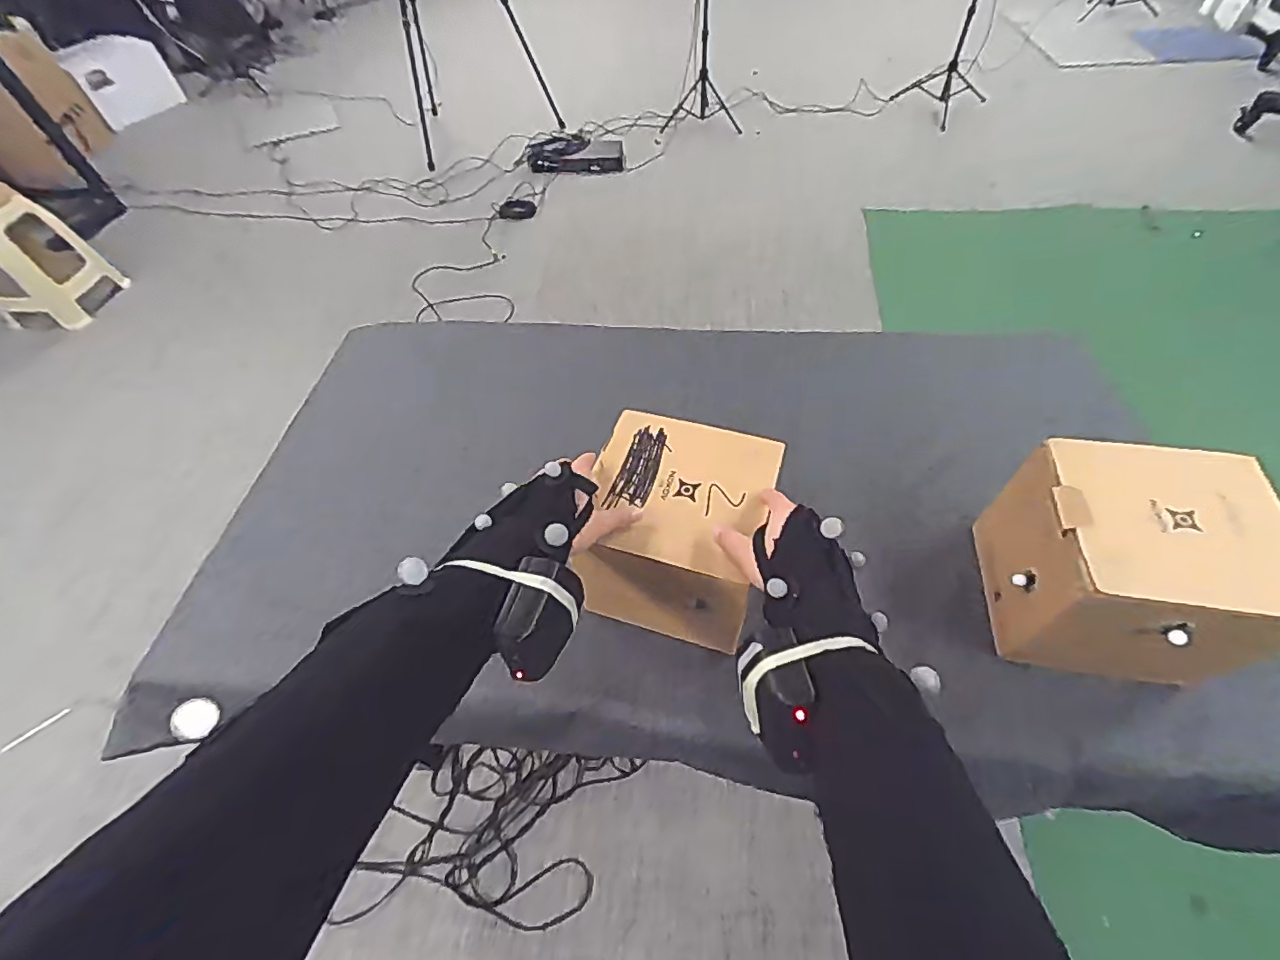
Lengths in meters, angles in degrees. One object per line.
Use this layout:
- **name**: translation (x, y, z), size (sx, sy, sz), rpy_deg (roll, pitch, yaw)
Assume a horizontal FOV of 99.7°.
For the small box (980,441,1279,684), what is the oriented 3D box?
- **small box**: translation (0.461, 0.084, 0.527), size (0.179, 0.176, 0.168), rpy_deg (7, 55, 9)
